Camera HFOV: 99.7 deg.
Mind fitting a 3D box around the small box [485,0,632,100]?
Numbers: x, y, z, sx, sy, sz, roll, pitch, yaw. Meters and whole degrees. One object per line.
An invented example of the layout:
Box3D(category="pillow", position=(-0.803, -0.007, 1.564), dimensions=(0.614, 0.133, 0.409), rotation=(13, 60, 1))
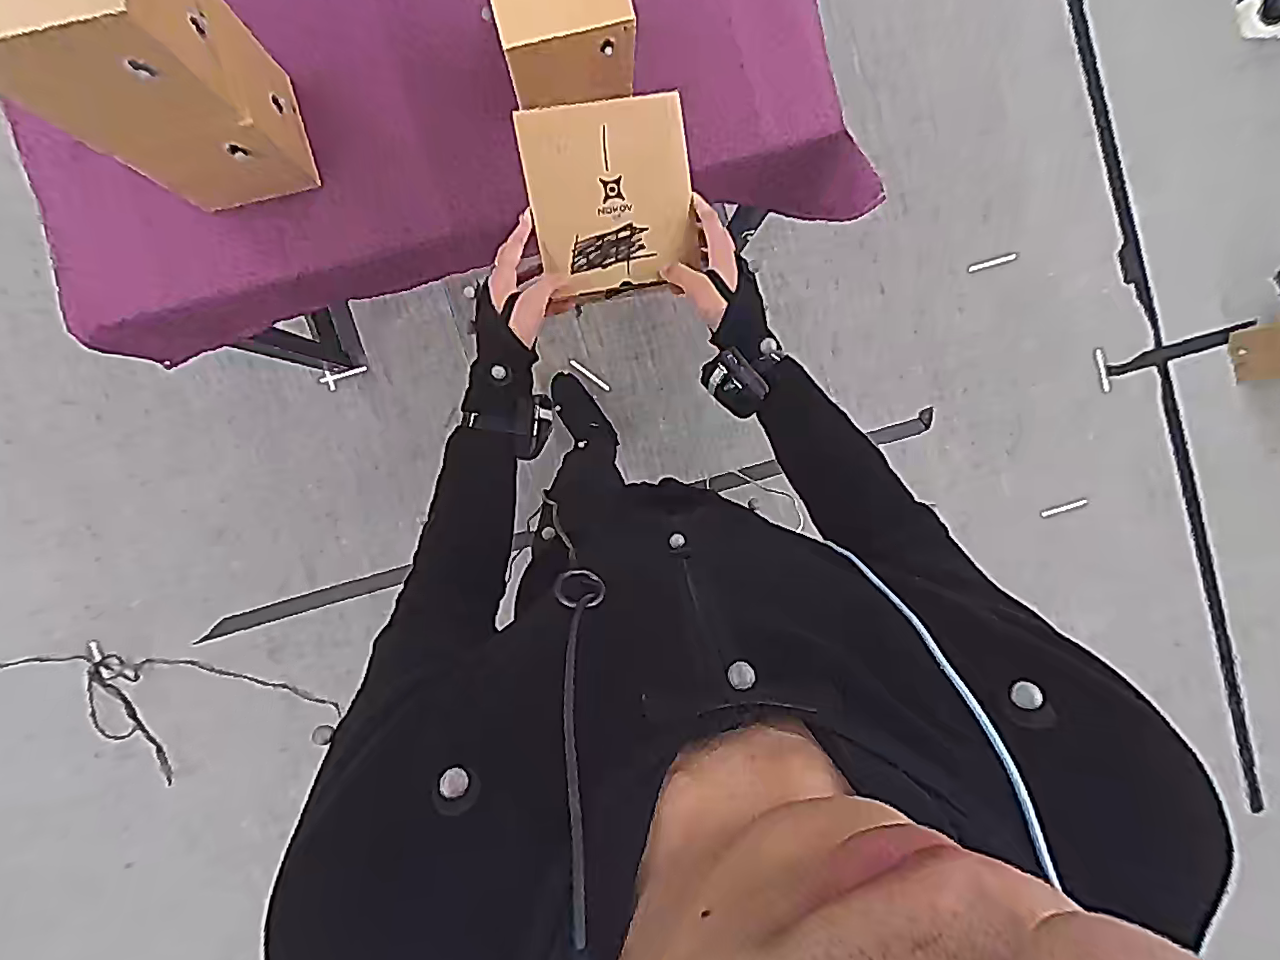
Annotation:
Box3D(category="small box", position=(-0.116, -0.639, 0.749), dimensions=(0.179, 0.176, 0.168), rotation=(-15, 95, -3))

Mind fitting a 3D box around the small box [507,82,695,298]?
Box3D(category="small box", position=(-0.044, -0.307, 0.611), dimensions=(0.168, 0.176, 0.179), rotation=(-11, 106, -6))

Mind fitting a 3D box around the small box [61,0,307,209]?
Box3D(category="small box", position=(-0.582, -0.494, 0.724), dimensions=(0.179, 0.176, 0.168), rotation=(-15, 95, -3))
